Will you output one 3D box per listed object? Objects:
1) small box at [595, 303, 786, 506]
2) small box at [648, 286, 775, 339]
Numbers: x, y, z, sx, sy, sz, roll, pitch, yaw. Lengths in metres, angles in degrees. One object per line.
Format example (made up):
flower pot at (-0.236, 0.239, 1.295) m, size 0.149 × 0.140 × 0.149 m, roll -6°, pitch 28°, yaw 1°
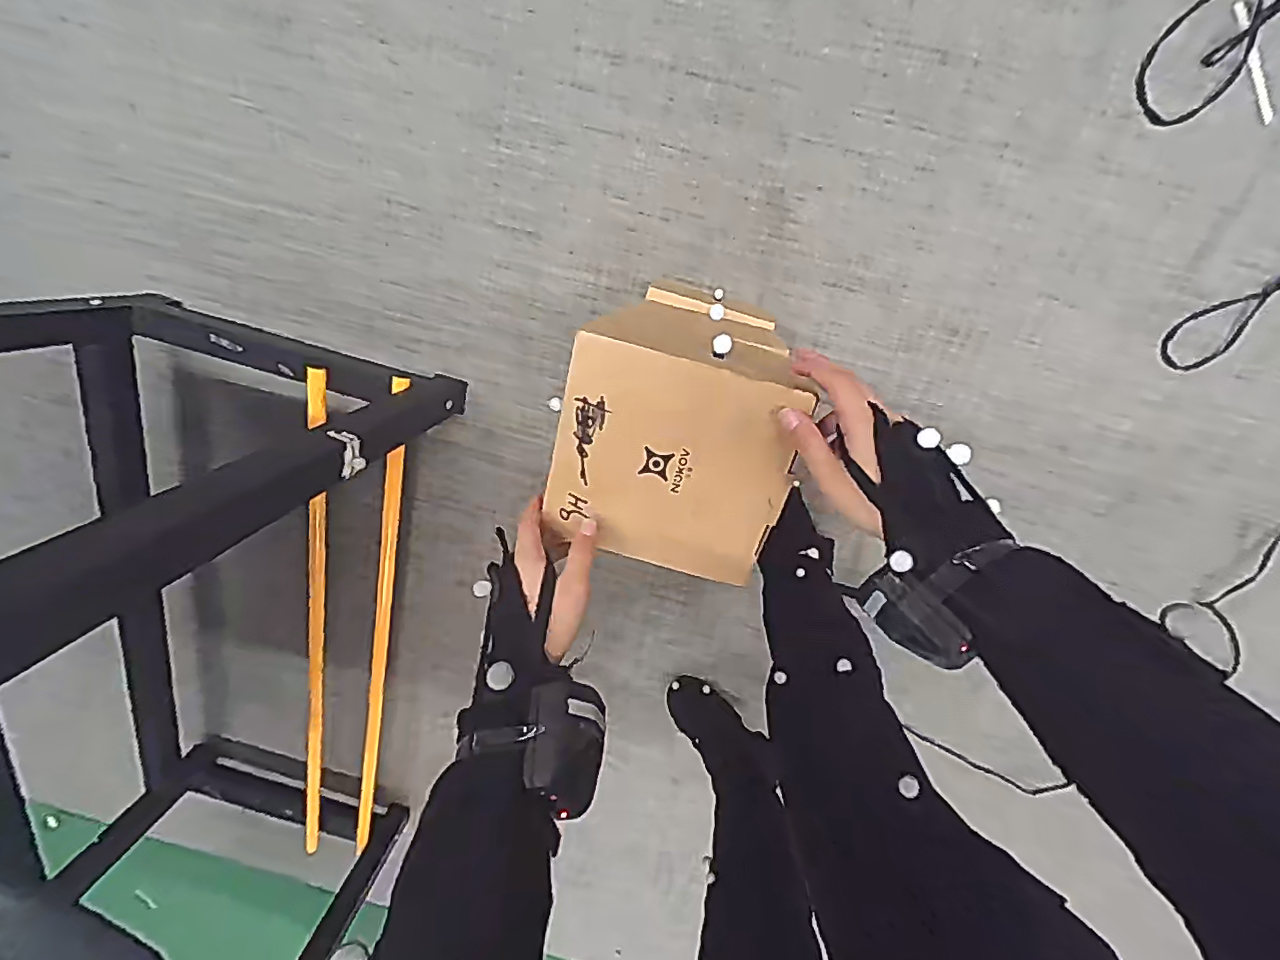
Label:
small box at (0.058, -0.098, 0.632) m, size 0.168 × 0.176 × 0.179 m, roll 15°, pitch 112°, yaw 2°
small box at (0.078, -0.170, 0.778) m, size 0.168 × 0.176 × 0.179 m, roll 17°, pitch 112°, yaw 2°
